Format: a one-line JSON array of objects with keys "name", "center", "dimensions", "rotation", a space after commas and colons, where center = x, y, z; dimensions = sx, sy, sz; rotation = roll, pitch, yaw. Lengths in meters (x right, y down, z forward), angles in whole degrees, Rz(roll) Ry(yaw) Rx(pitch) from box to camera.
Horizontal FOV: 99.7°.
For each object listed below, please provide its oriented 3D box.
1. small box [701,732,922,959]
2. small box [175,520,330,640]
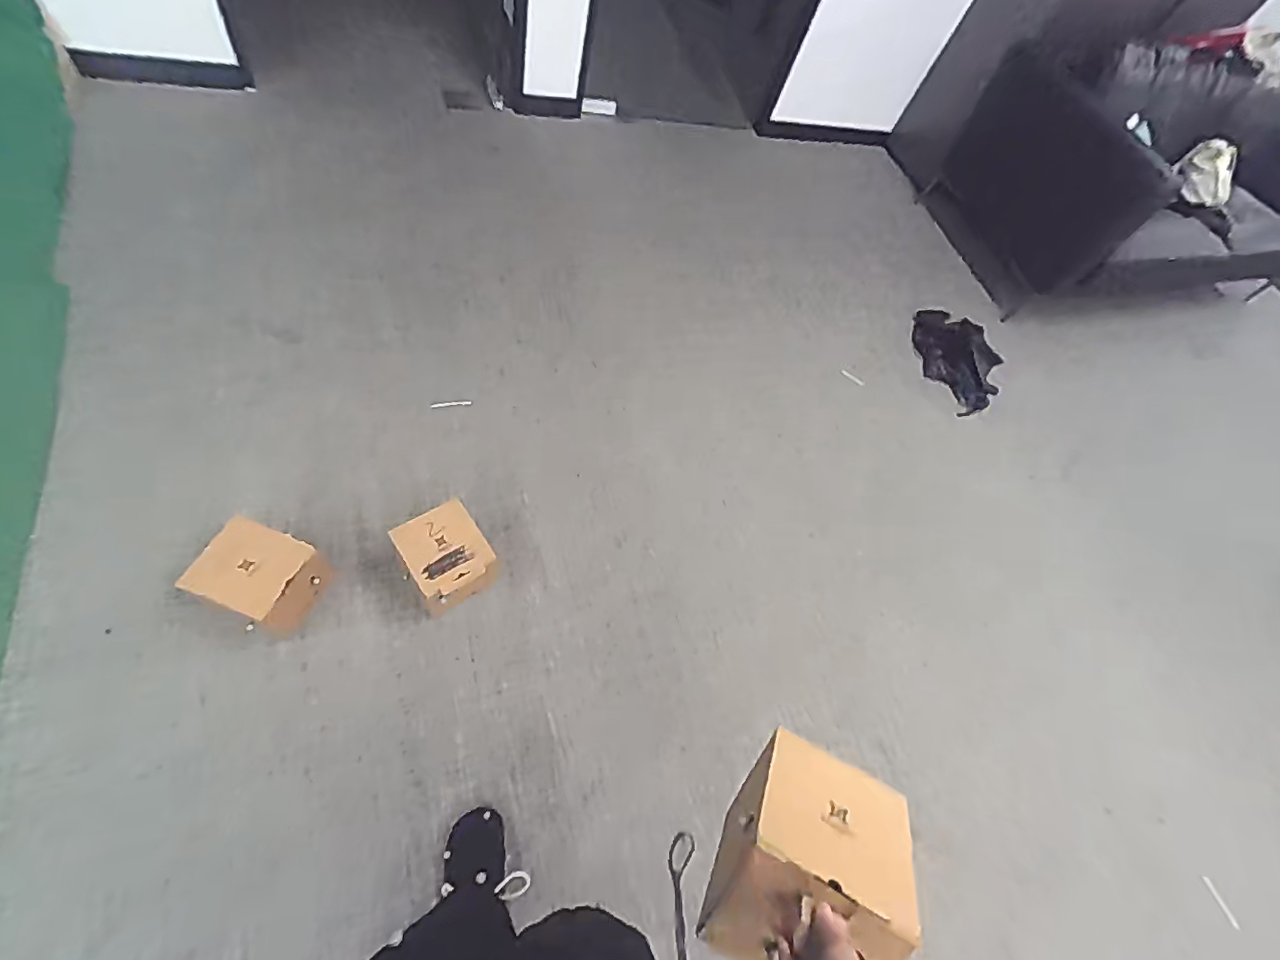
[{"name": "small box", "center": [0.185, 0.438, 0.607], "dimensions": [0.168, 0.176, 0.179], "rotation": [25, 20, 14]}, {"name": "small box", "center": [-0.779, 0.214, 1.116], "dimensions": [0.179, 0.176, 0.168], "rotation": [23, 57, -2]}]
